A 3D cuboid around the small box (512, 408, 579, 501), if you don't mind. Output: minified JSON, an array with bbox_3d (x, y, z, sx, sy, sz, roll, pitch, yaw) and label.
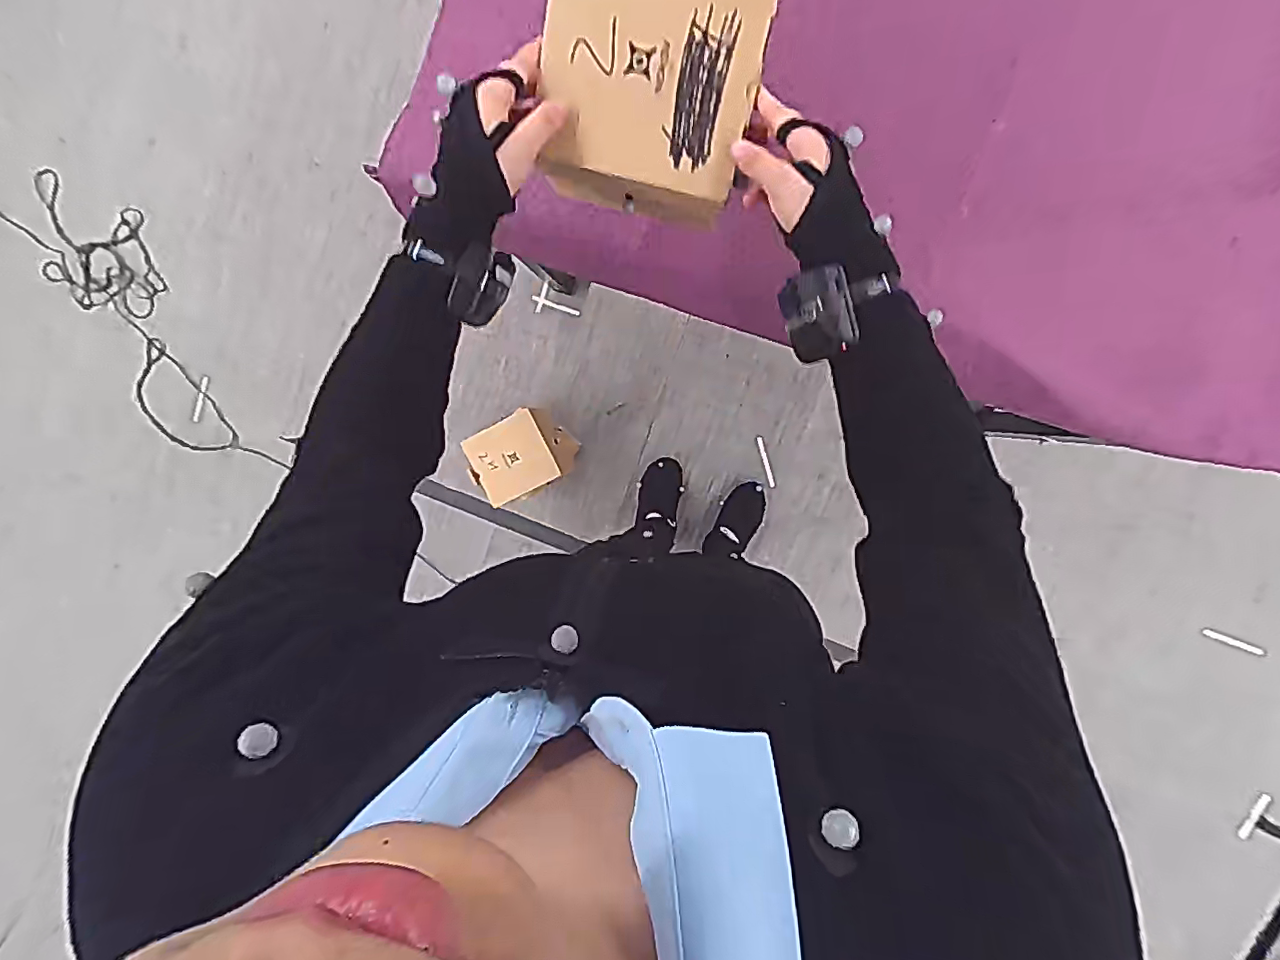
[{"bbox_3d":[-0.281,-0.070,1.418,0.168,0.176,0.179,42,98,-1],"label":"small box"}]

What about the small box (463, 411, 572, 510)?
[{"bbox_3d":[-0.271,-0.052,1.252,0.179,0.176,0.168,-26,93,7],"label":"small box"}]
